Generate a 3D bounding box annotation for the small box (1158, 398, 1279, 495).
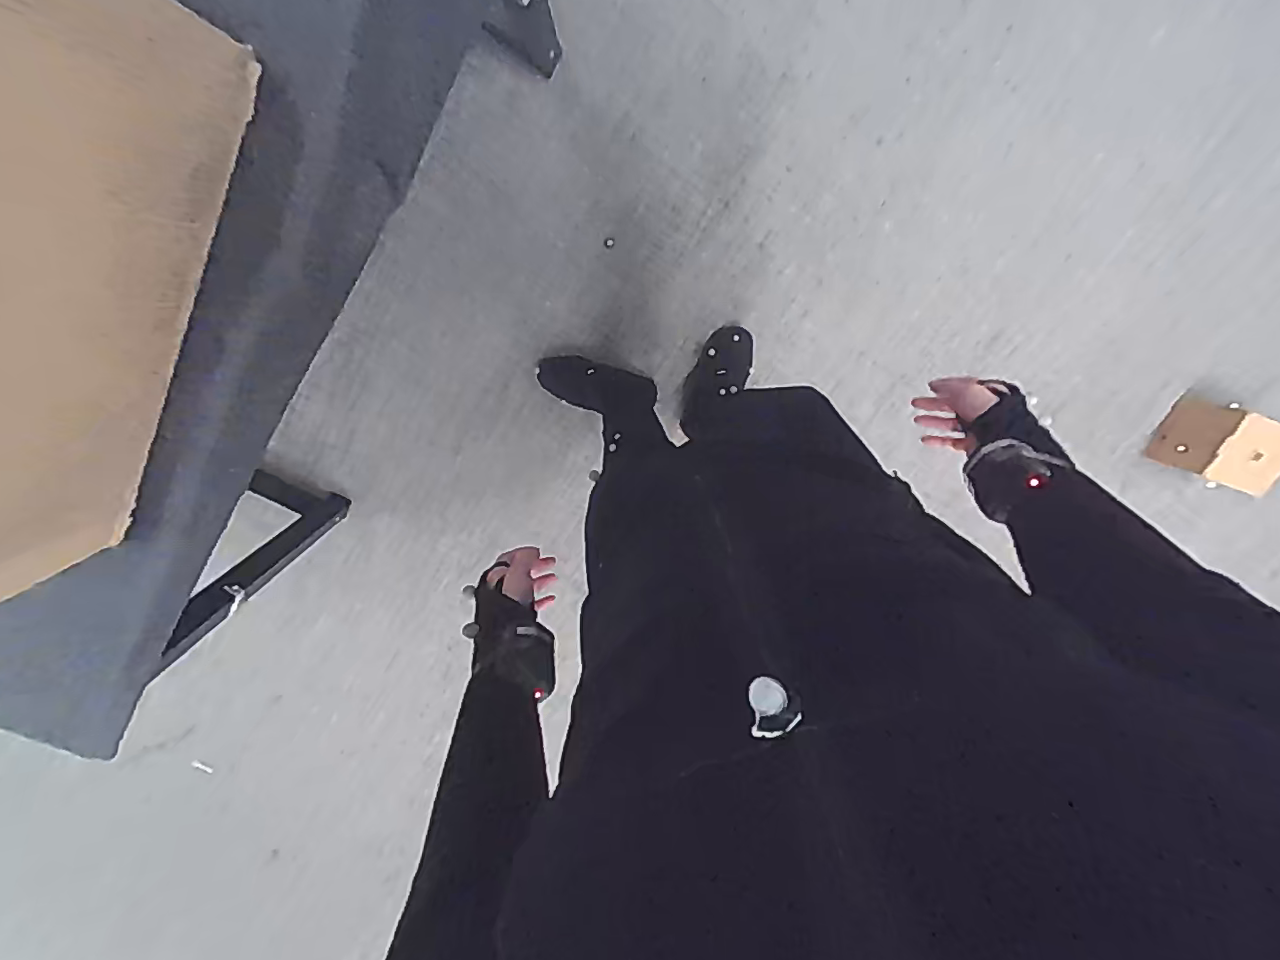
[{"bbox_3d":[1.419,-0.087,1.289,0.179,0.176,0.168,15,110,-8],"label":"small box"}]
